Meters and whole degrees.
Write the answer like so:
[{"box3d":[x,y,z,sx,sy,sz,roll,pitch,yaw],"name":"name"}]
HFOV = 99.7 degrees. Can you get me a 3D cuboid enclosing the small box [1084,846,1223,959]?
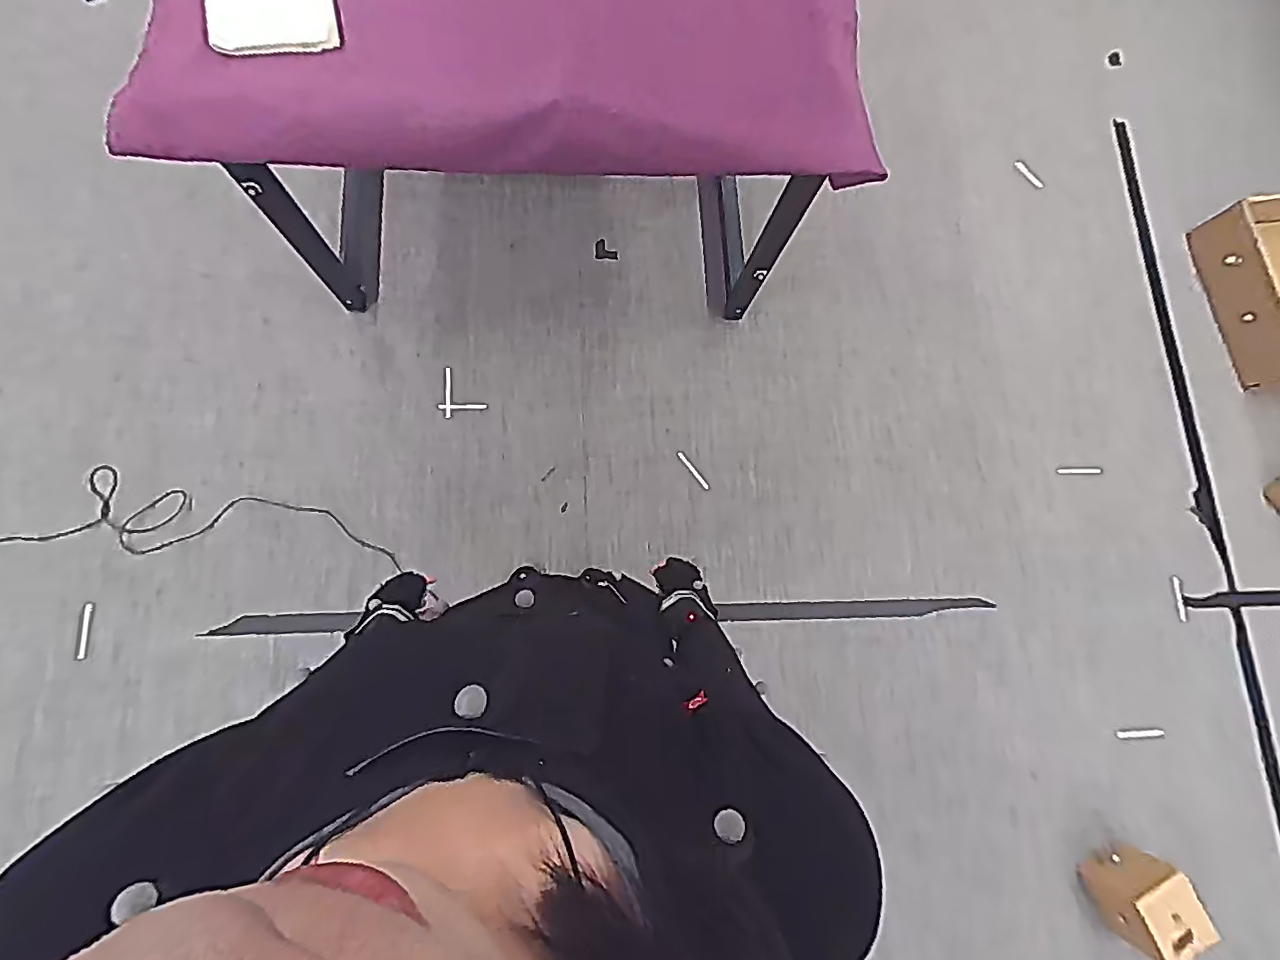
[{"box3d":[1.350,1.129,1.434,0.168,0.176,0.179,-23,82,-10],"name":"small box"}]
